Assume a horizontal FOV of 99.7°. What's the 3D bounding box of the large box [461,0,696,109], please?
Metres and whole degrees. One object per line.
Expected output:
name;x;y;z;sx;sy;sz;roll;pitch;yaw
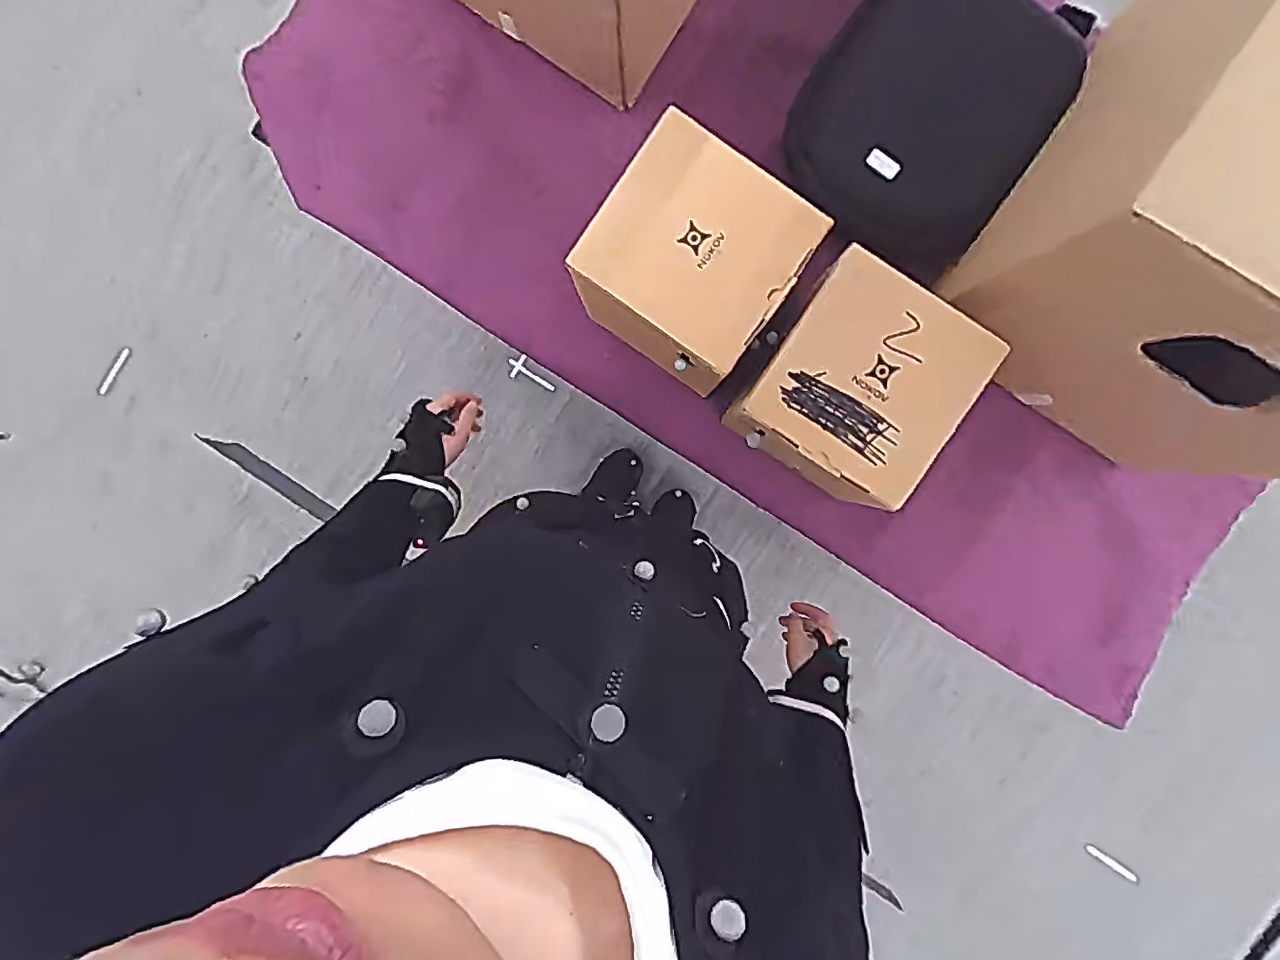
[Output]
large box;-0.035;-0.657;0.457;0.320;0.320;0.408;32;96;-2
